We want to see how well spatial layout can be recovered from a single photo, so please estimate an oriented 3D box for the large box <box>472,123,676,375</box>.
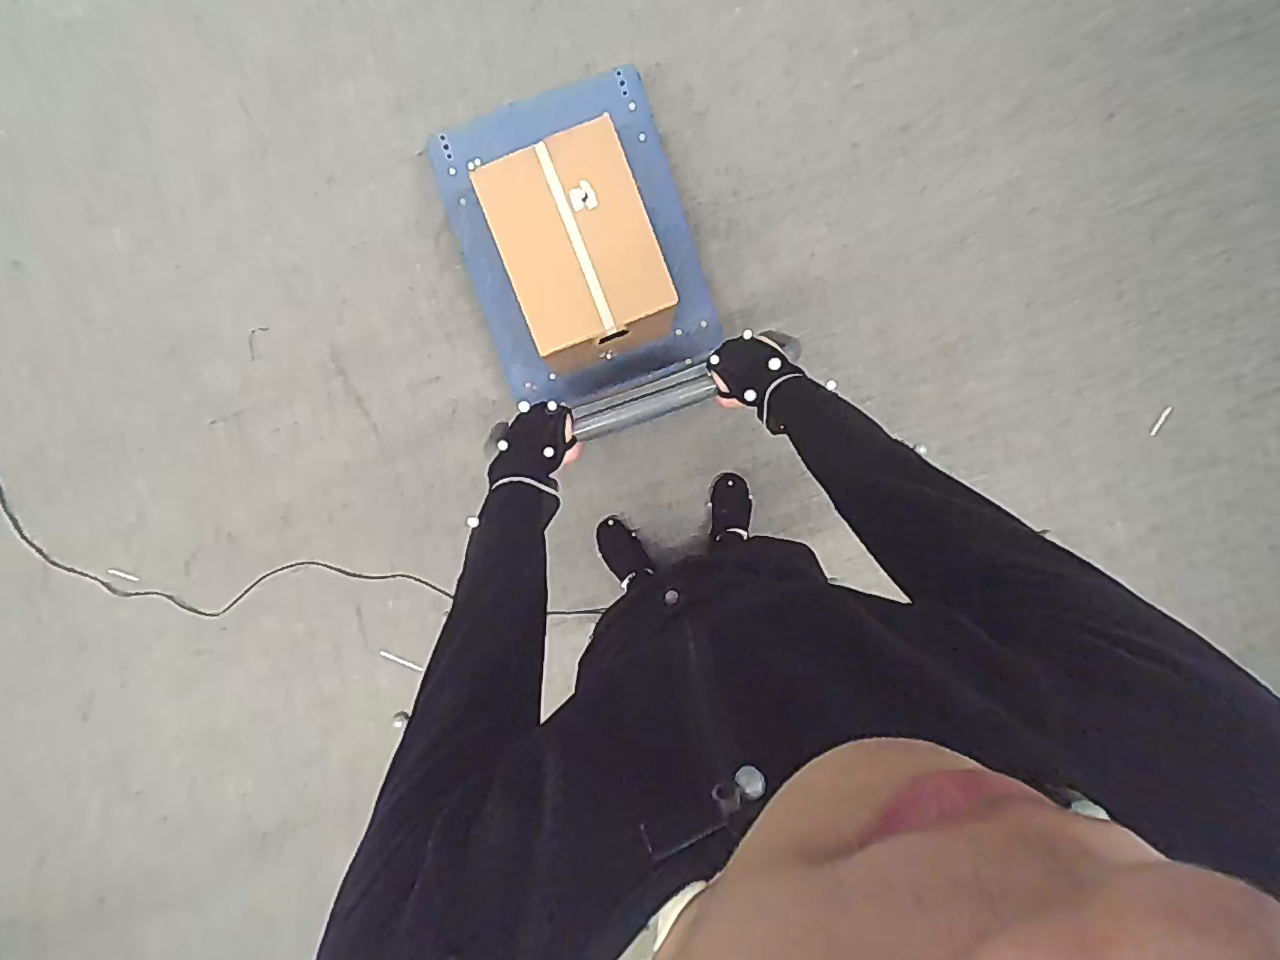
[{"bbox_3d":[-0.132,-0.506,1.273,0.320,0.320,0.408,-21,93,2],"label":"large box"}]
